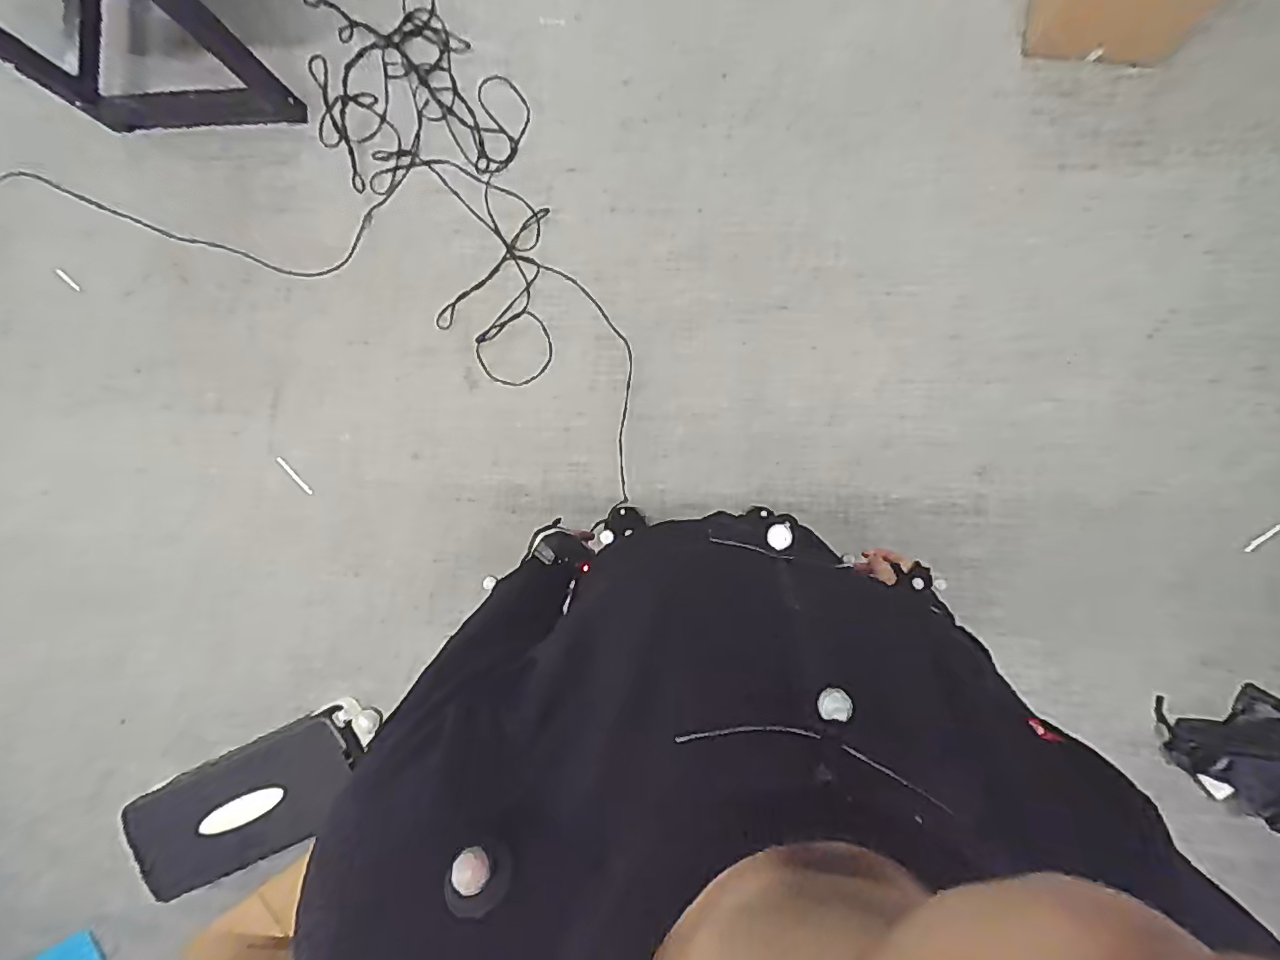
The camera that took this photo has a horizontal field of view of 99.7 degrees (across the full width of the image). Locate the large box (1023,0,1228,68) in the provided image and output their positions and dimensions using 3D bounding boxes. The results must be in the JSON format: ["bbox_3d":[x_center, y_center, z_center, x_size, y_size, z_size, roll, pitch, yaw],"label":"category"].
[{"bbox_3d":[1.093,-1.205,1.159,0.320,0.320,0.408,8,91,5],"label":"large box"}]
